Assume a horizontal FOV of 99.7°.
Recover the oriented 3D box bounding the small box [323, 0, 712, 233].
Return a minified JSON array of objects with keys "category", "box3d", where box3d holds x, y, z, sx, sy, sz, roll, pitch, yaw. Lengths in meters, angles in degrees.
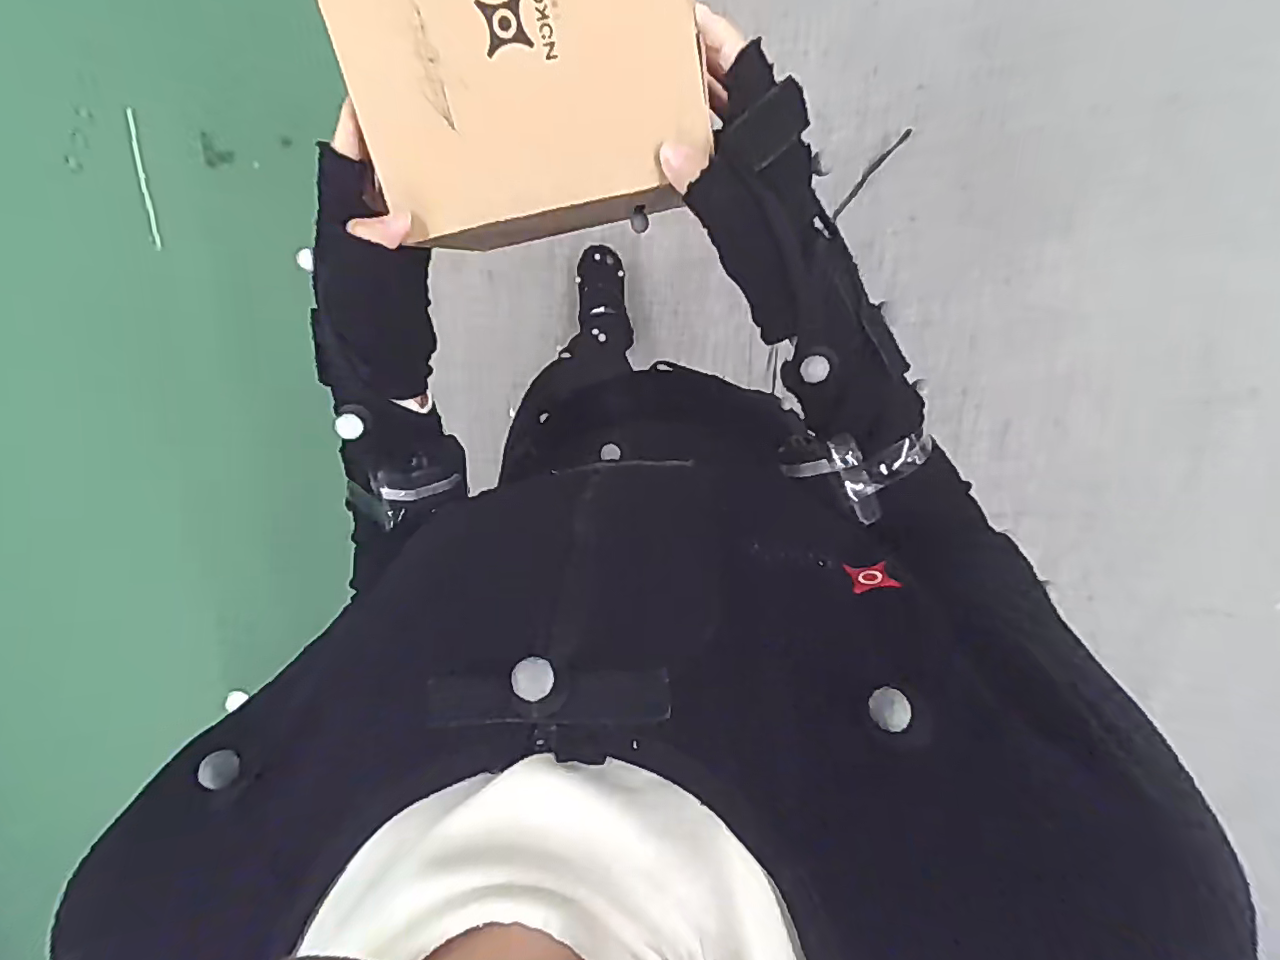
[{"category":"small box","box3d":[-0.062,-0.258,0.331,0.179,0.176,0.168,-11,111,6]}]
